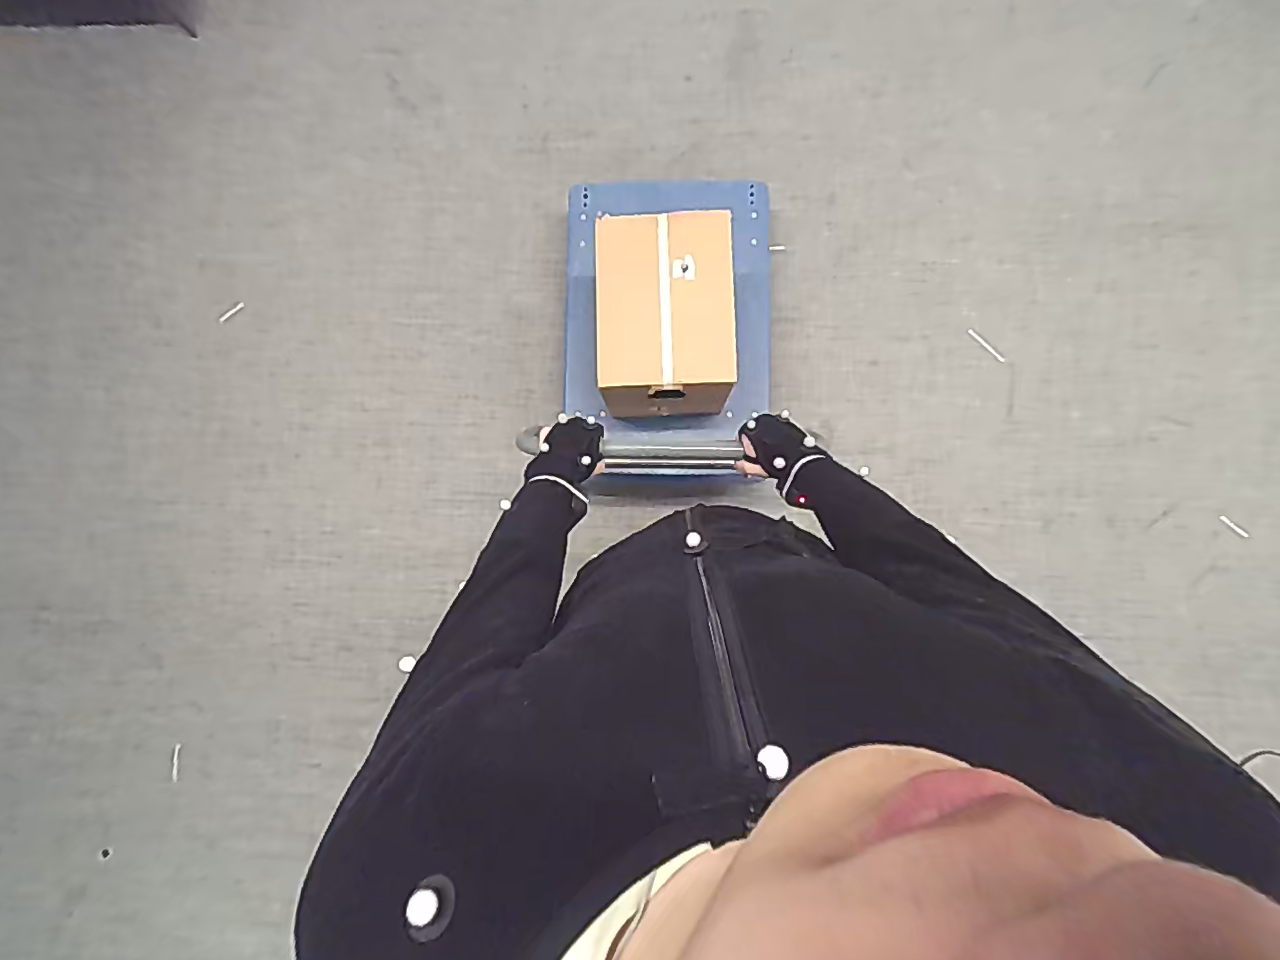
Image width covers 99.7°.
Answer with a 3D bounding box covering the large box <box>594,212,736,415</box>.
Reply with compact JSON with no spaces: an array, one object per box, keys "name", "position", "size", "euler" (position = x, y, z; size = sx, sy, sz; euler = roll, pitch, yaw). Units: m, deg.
[{"name":"large box","position":[0.063,-0.398,1.379],"size":[0.320,0.320,0.408],"euler":[-2,85,2]}]
